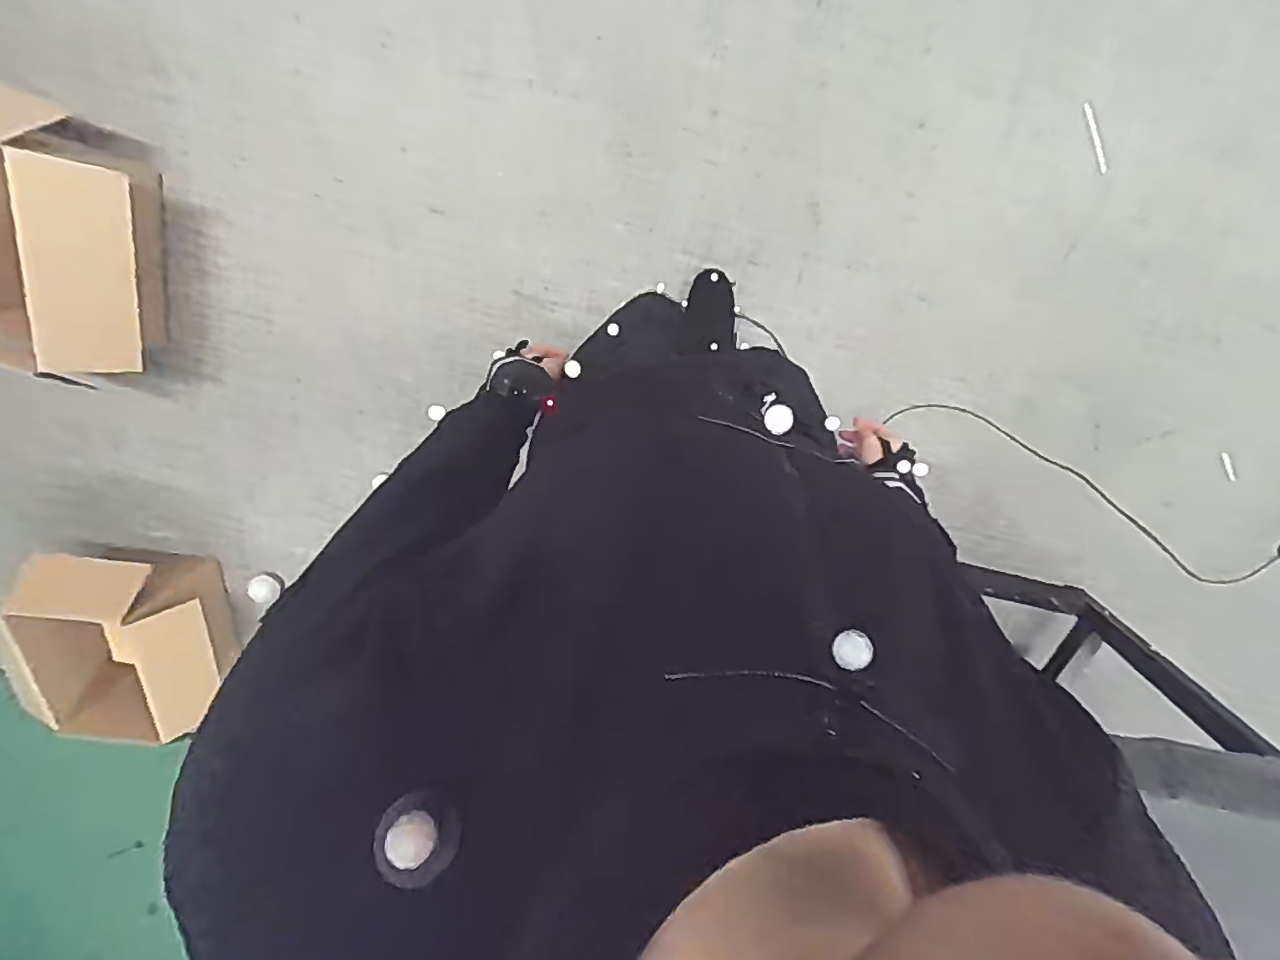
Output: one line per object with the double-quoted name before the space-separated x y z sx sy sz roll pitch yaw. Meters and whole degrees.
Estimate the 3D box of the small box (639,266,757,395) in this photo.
"small box" 0.127 -0.305 1.148 0.179 0.168 0.176 38 135 -28

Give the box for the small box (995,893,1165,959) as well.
"small box" 0.694 0.779 0.827 0.168 0.176 0.179 16 114 -4
